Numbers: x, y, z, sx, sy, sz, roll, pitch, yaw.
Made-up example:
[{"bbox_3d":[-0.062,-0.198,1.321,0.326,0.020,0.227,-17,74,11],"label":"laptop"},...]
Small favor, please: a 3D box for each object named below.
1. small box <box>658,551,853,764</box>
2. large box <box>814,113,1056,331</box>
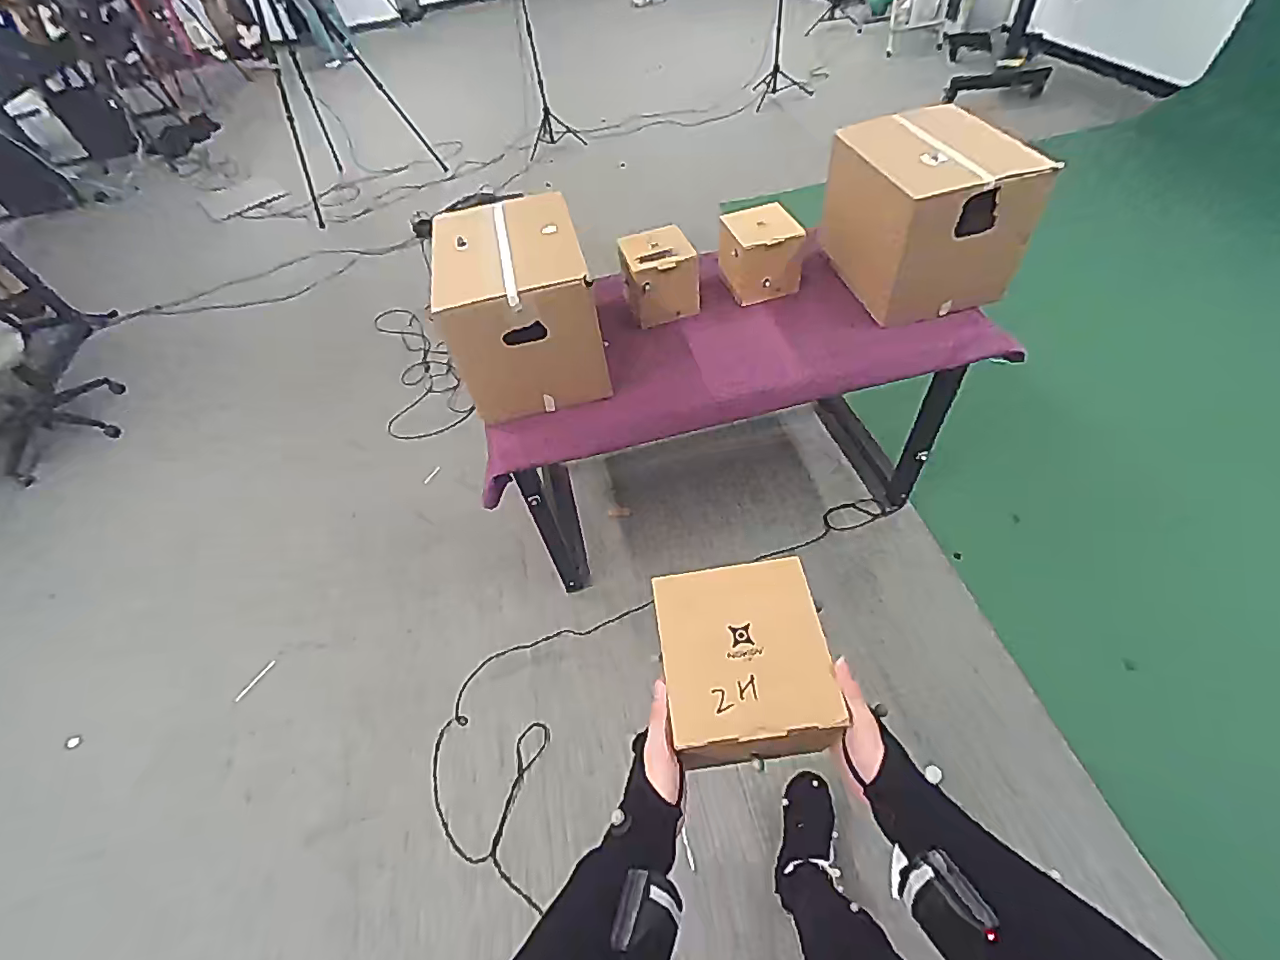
[{"bbox_3d":[0.115,0.205,0.611,0.168,0.176,0.179,-9,55,2],"label":"small box"},{"bbox_3d":[0.670,-0.634,1.325,0.320,0.320,0.408,-14,52,-2],"label":"large box"}]
